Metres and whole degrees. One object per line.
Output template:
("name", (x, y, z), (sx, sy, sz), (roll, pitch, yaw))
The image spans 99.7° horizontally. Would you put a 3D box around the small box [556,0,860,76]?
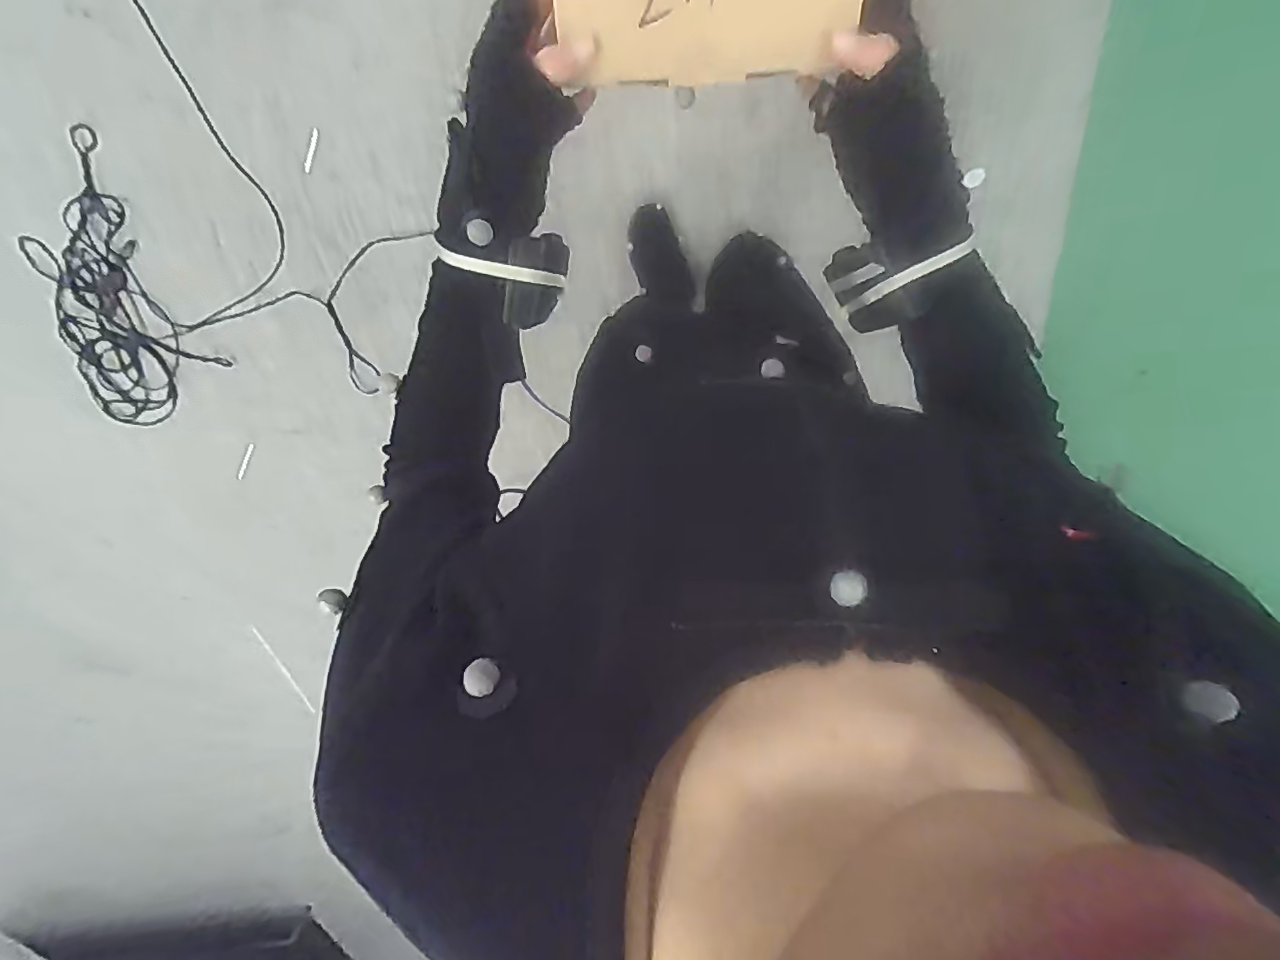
("small box", (0.031, -0.353, 0.317), (0.168, 0.176, 0.179), (-3, 125, 0))
